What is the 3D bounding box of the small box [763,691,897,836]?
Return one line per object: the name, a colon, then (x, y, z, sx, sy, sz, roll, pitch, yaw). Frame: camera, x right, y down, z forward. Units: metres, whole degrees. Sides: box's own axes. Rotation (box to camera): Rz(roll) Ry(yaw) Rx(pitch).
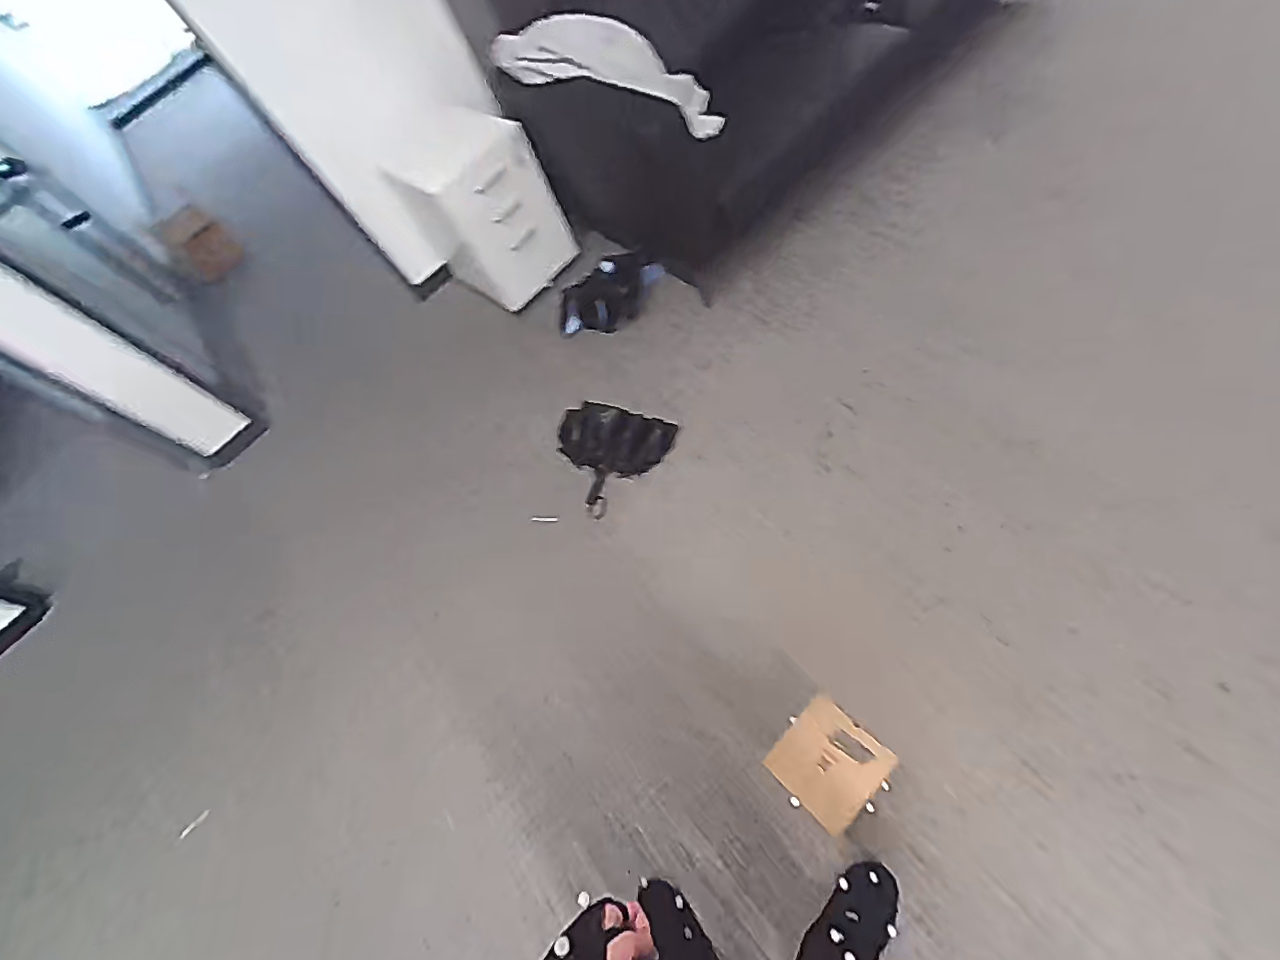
small box: (0.362, 0.541, 1.037, 0.179, 0.176, 0.168, -46, 55, -9)
